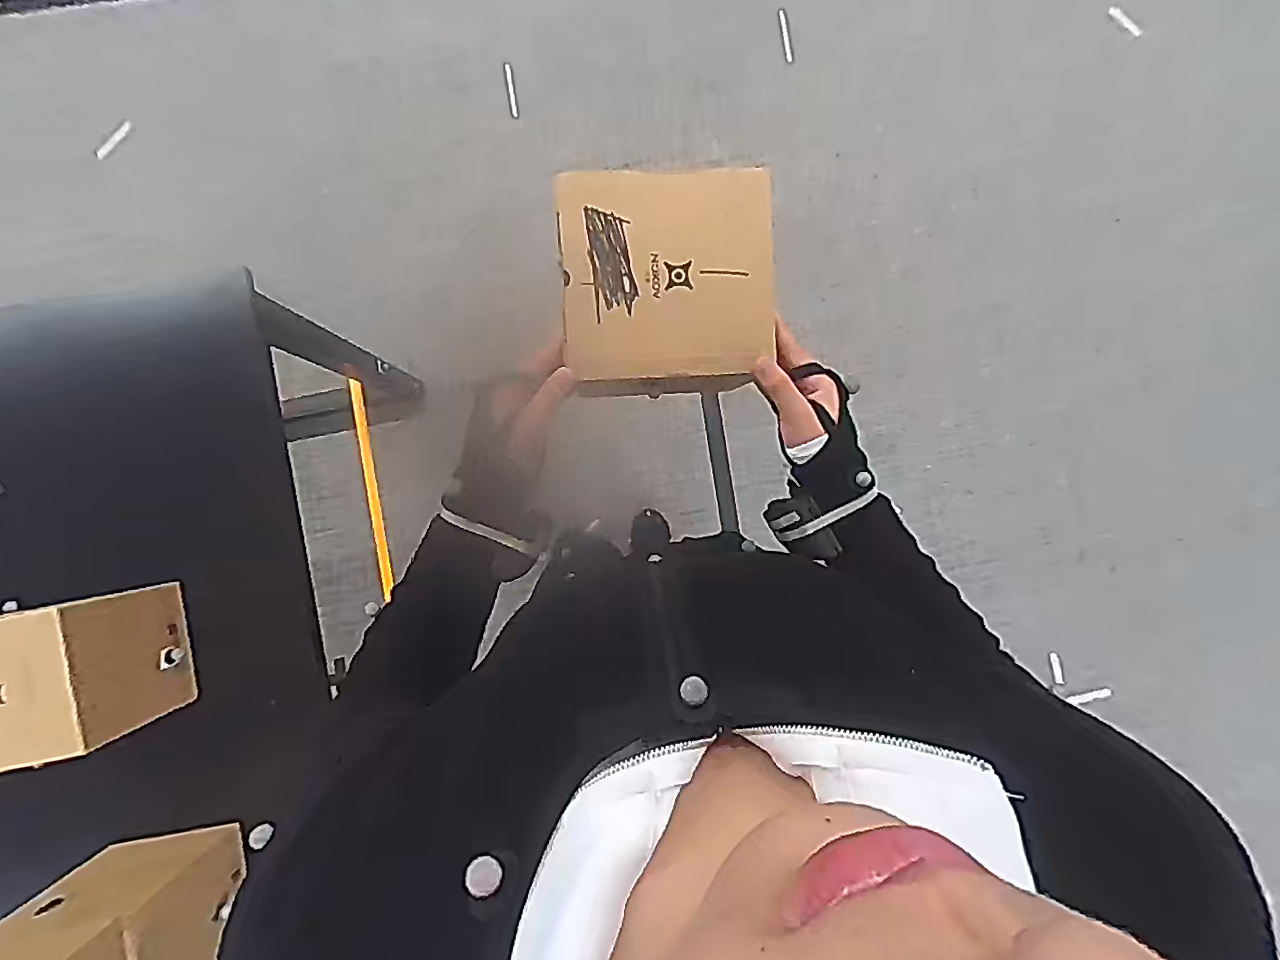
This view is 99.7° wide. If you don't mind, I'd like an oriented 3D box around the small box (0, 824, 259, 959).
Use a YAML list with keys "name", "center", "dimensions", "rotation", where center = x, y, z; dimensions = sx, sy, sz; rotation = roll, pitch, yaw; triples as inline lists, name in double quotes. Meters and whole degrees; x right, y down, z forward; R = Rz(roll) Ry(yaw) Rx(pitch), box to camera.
- name: "small box"
  center: [-0.616, 0.561, 0.659]
  dimensions: [0.179, 0.176, 0.168]
  rotation: [-9, 89, -2]

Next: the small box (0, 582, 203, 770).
- name: "small box"
  center: [-0.700, 0.233, 0.666]
  dimensions: [0.179, 0.176, 0.168]
  rotation: [-12, 91, -3]

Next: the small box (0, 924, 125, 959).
- name: "small box"
  center: [-0.619, 0.561, 0.495]
  dimensions: [0.179, 0.176, 0.168]
  rotation: [-12, 89, -3]

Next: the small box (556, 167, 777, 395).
- name: "small box"
  center: [0.019, -0.174, 0.518]
  dimensions: [0.179, 0.176, 0.168]
  rotation: [-4, 95, -4]
